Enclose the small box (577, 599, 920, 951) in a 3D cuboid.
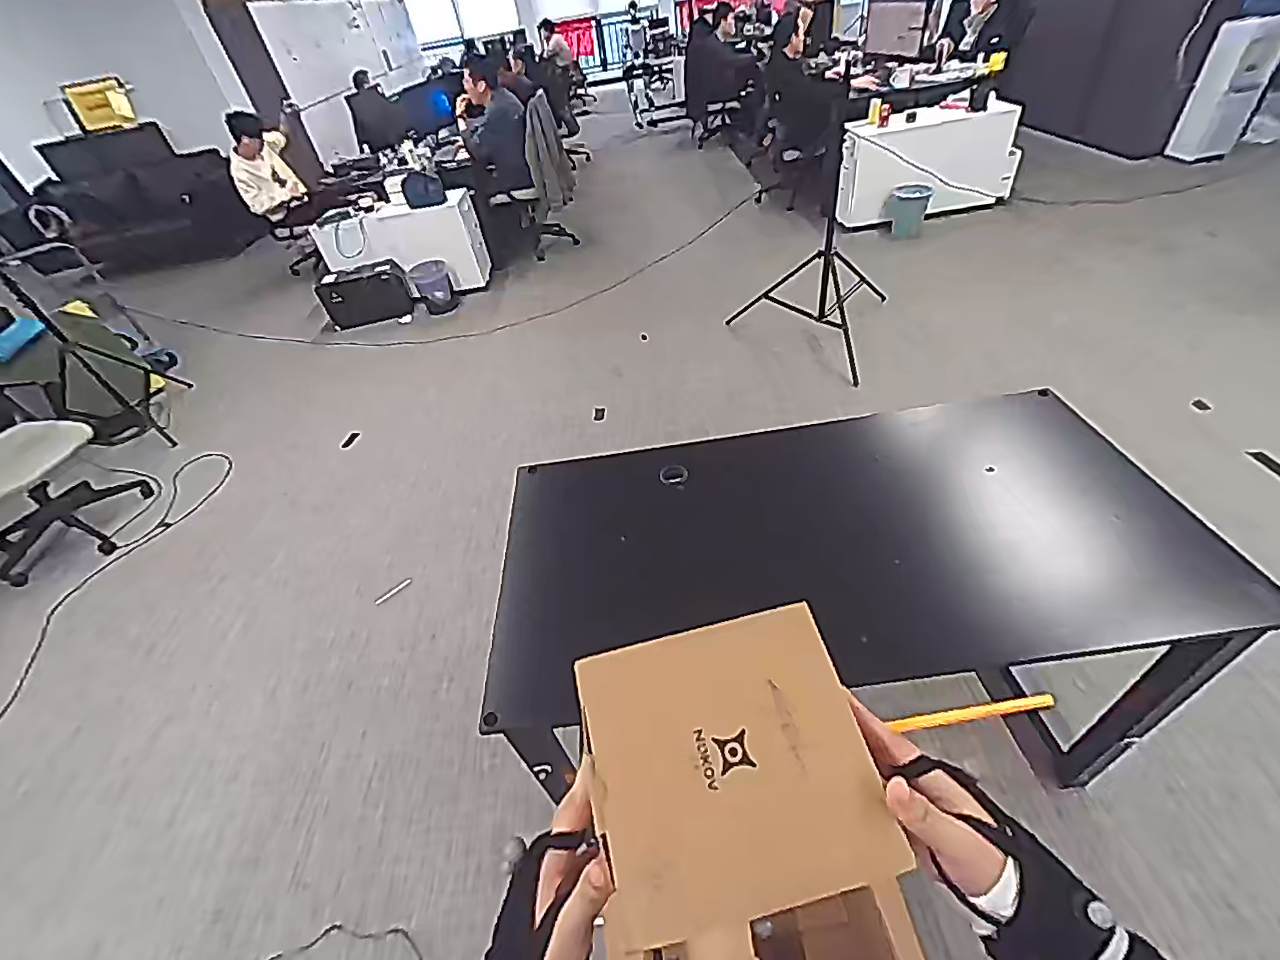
[{"bbox_3d":[0.063,0.213,0.408,0.179,0.176,0.168,-14,59,-5],"label":"small box"}]
